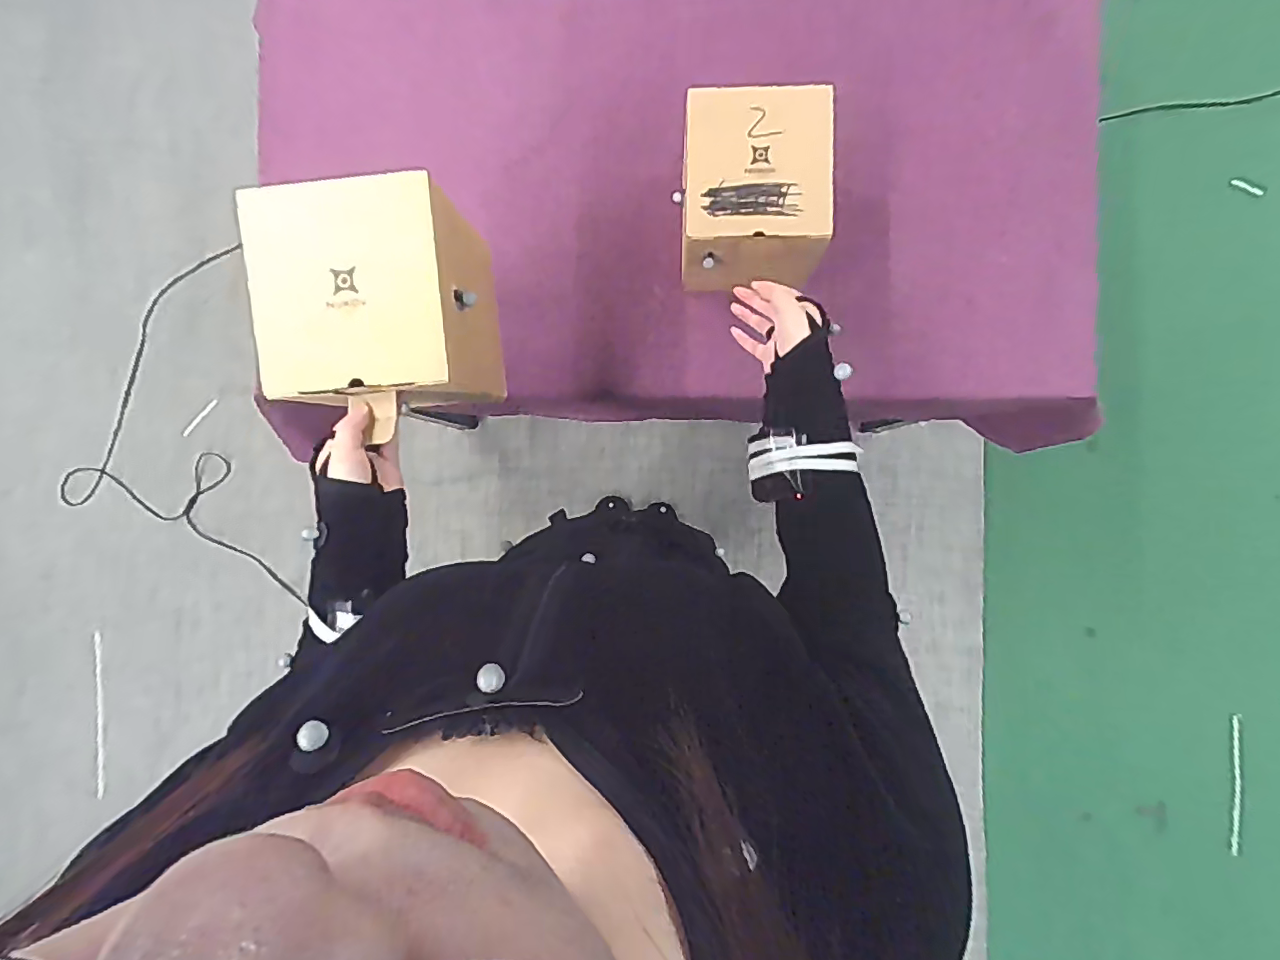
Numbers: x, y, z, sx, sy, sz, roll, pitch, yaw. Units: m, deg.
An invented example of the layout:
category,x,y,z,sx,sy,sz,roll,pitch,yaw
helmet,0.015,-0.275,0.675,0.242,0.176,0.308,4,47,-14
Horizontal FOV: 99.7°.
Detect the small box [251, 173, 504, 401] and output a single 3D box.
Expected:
category,x,y,z,sx,sy,sz,roll,pitch,yaw
small box,-0.246,-0.177,0.549,0.168,0.176,0.179,-4,95,3
